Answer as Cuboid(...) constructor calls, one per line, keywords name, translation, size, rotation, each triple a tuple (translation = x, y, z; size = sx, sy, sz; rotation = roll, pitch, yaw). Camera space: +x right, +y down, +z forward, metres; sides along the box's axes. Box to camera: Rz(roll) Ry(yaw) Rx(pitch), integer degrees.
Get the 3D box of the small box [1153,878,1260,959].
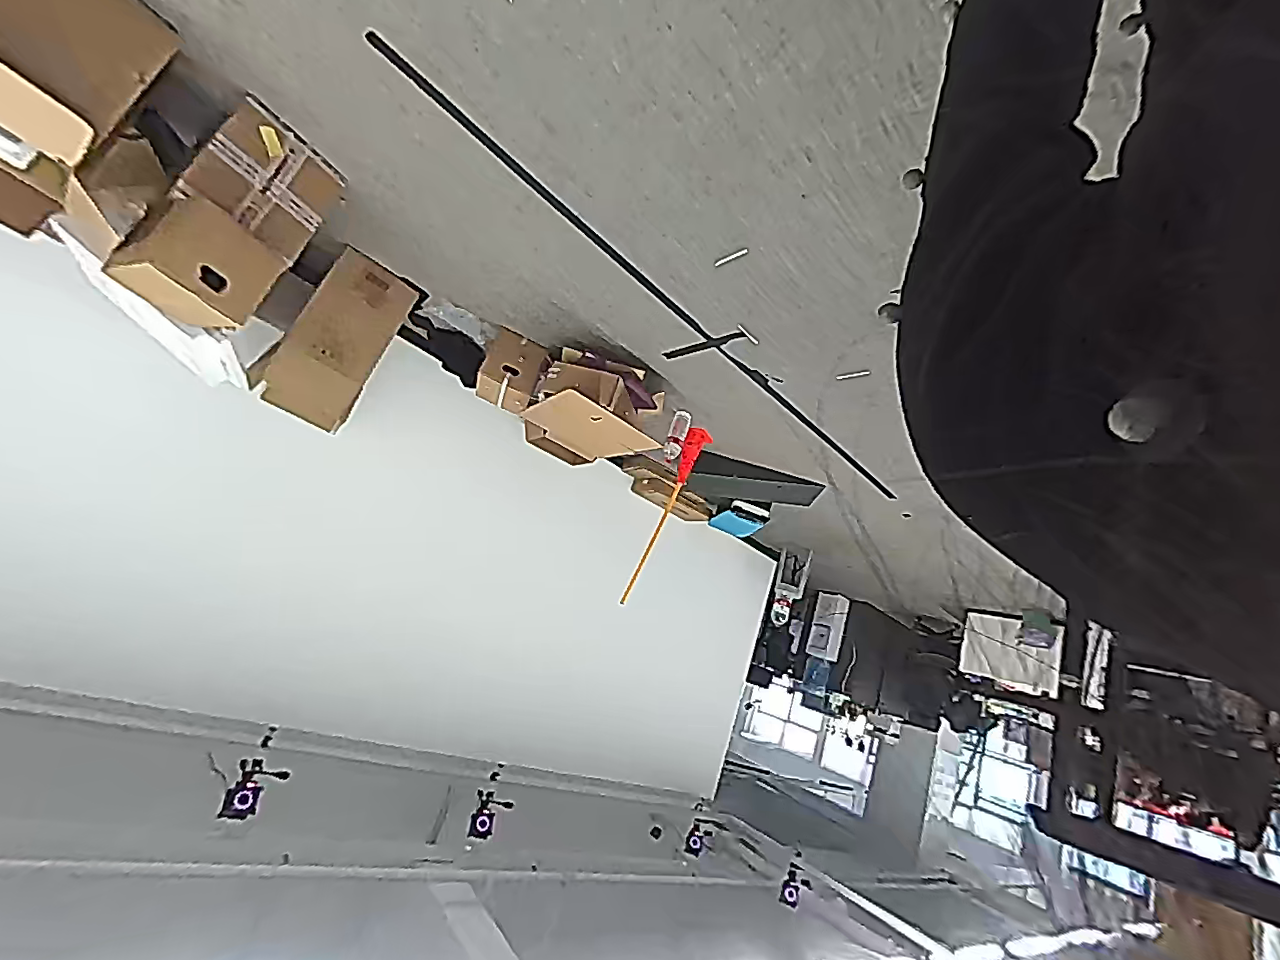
Cuboid(name="small box", translation=(1.350, 1.083, 1.288), size=(0.179, 0.176, 0.168), rotation=(30, 160, -35))
